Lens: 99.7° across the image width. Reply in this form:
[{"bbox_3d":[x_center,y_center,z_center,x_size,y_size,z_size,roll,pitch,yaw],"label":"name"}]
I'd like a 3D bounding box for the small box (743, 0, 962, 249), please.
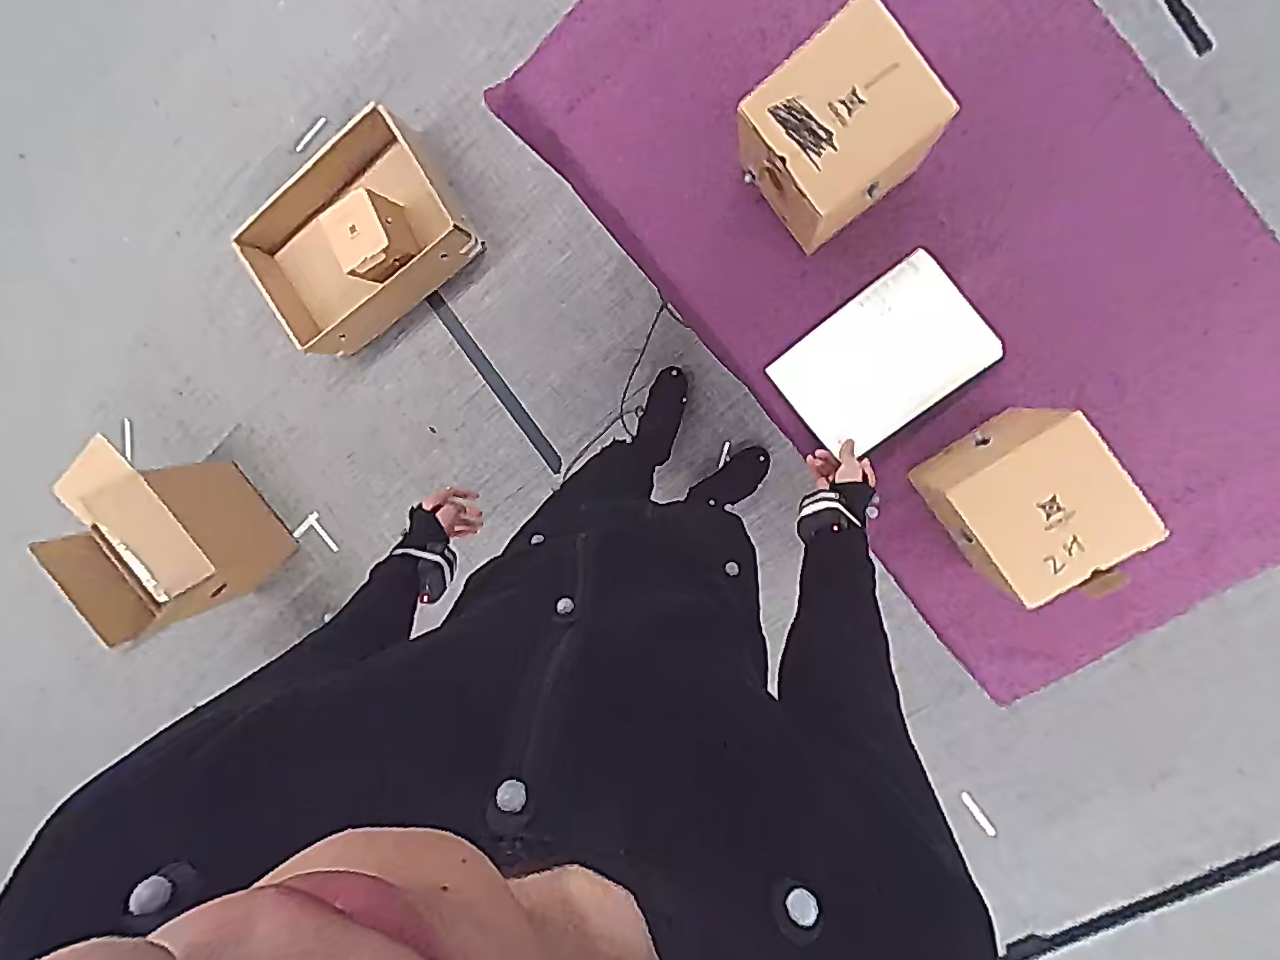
[{"bbox_3d":[0.247,-0.422,0.672,0.179,0.176,0.168,-36,90,14],"label":"small box"}]

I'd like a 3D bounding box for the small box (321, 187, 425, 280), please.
[{"bbox_3d":[-0.753,-0.691,1.545,0.168,0.176,0.179,-23,94,15],"label":"small box"}]

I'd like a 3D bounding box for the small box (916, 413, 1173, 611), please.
[{"bbox_3d":[0.490,0.031,0.691,0.168,0.176,0.179,-35,90,15],"label":"small box"}]
